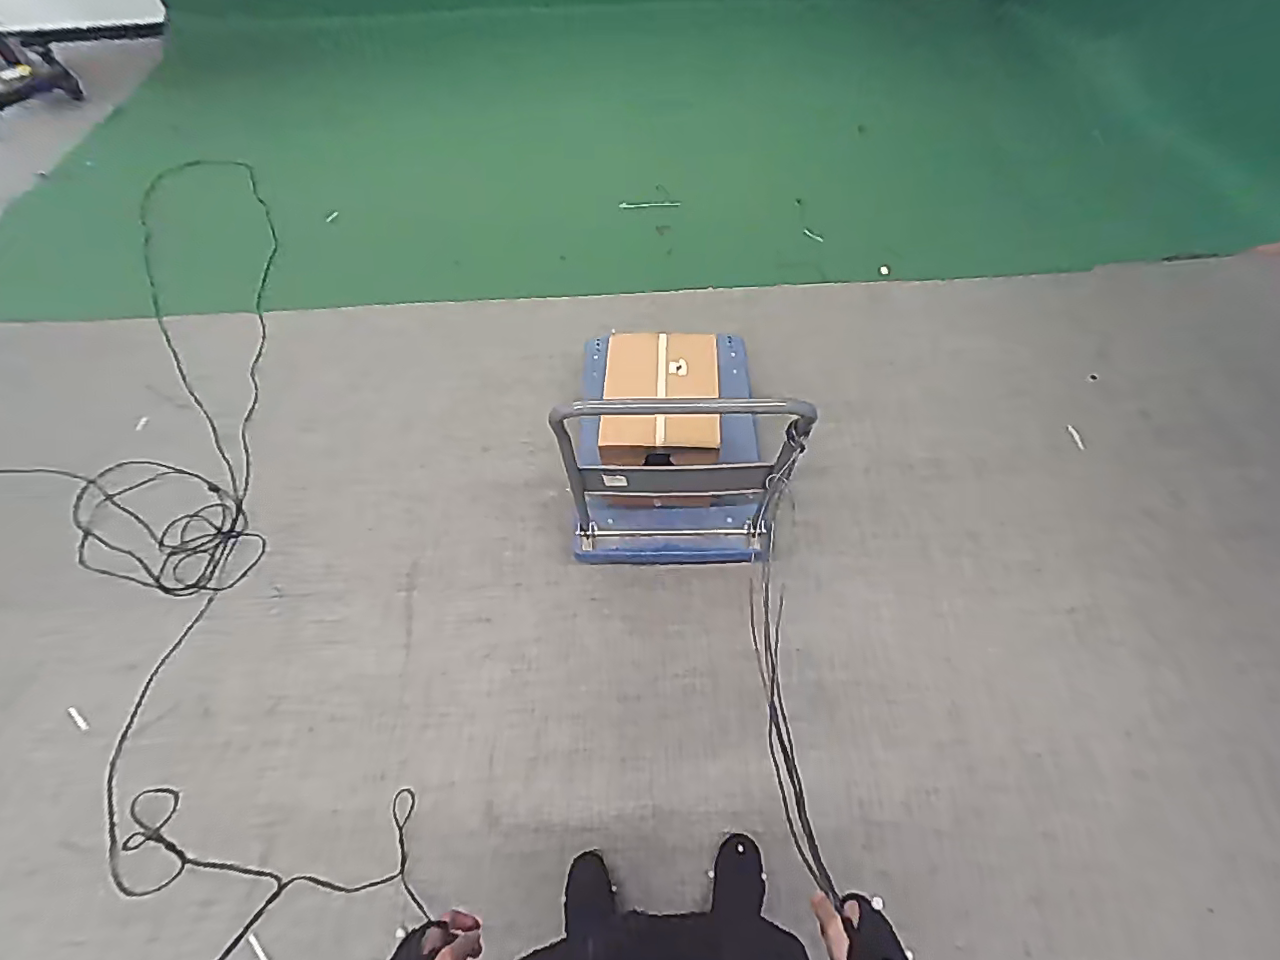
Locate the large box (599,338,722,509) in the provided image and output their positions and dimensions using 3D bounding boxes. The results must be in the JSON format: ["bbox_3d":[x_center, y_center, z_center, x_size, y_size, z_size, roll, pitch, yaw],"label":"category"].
[{"bbox_3d":[0.061,-0.158,1.580,0.320,0.320,0.408,2,58,2],"label":"large box"}]
